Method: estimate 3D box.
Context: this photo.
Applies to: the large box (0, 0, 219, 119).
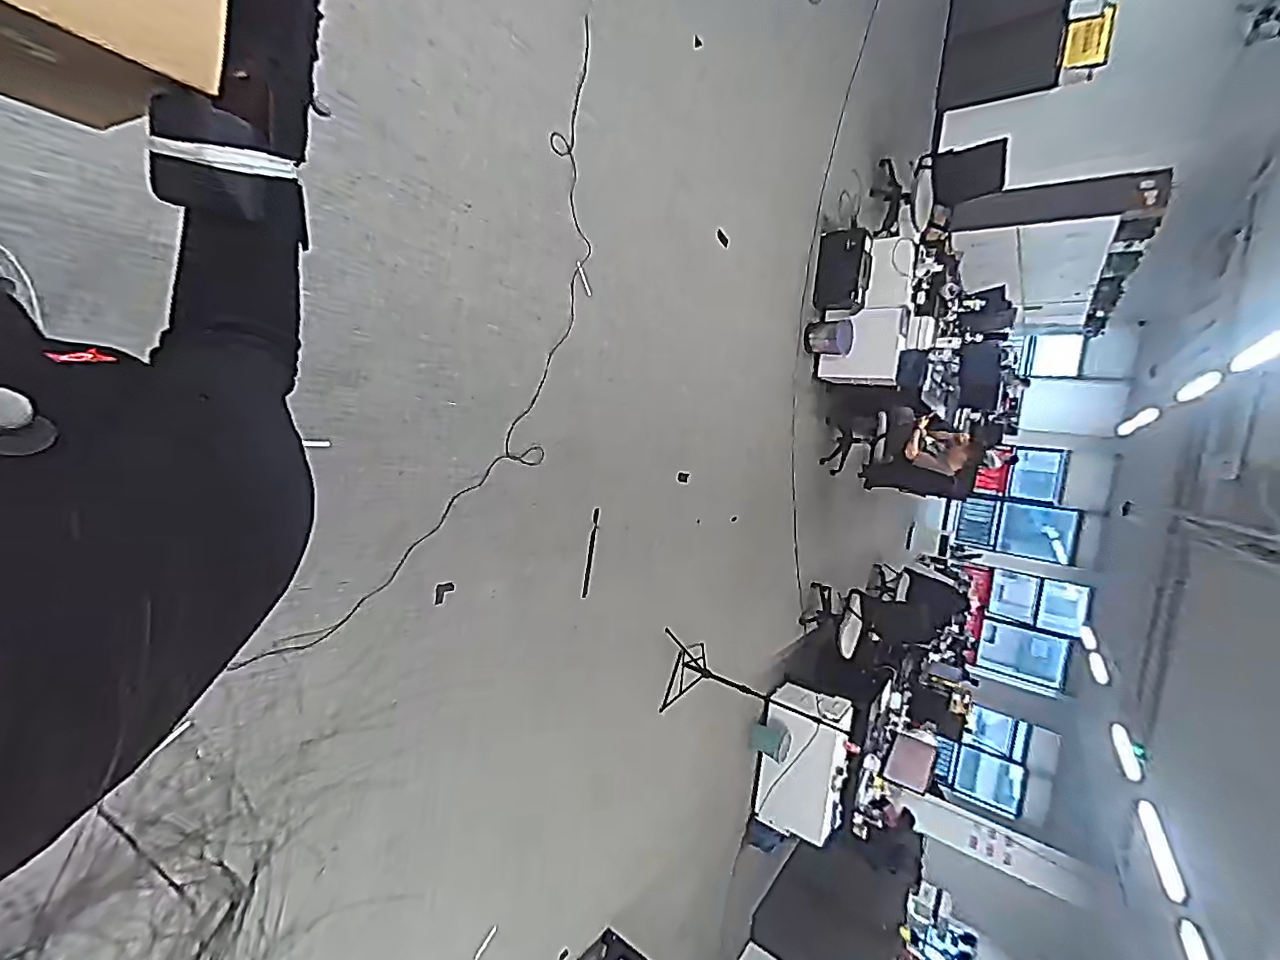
[{"bbox_3d":[-0.467,-0.423,0.229,0.408,0.320,0.320,-2,110,-55],"label":"large box"}]
